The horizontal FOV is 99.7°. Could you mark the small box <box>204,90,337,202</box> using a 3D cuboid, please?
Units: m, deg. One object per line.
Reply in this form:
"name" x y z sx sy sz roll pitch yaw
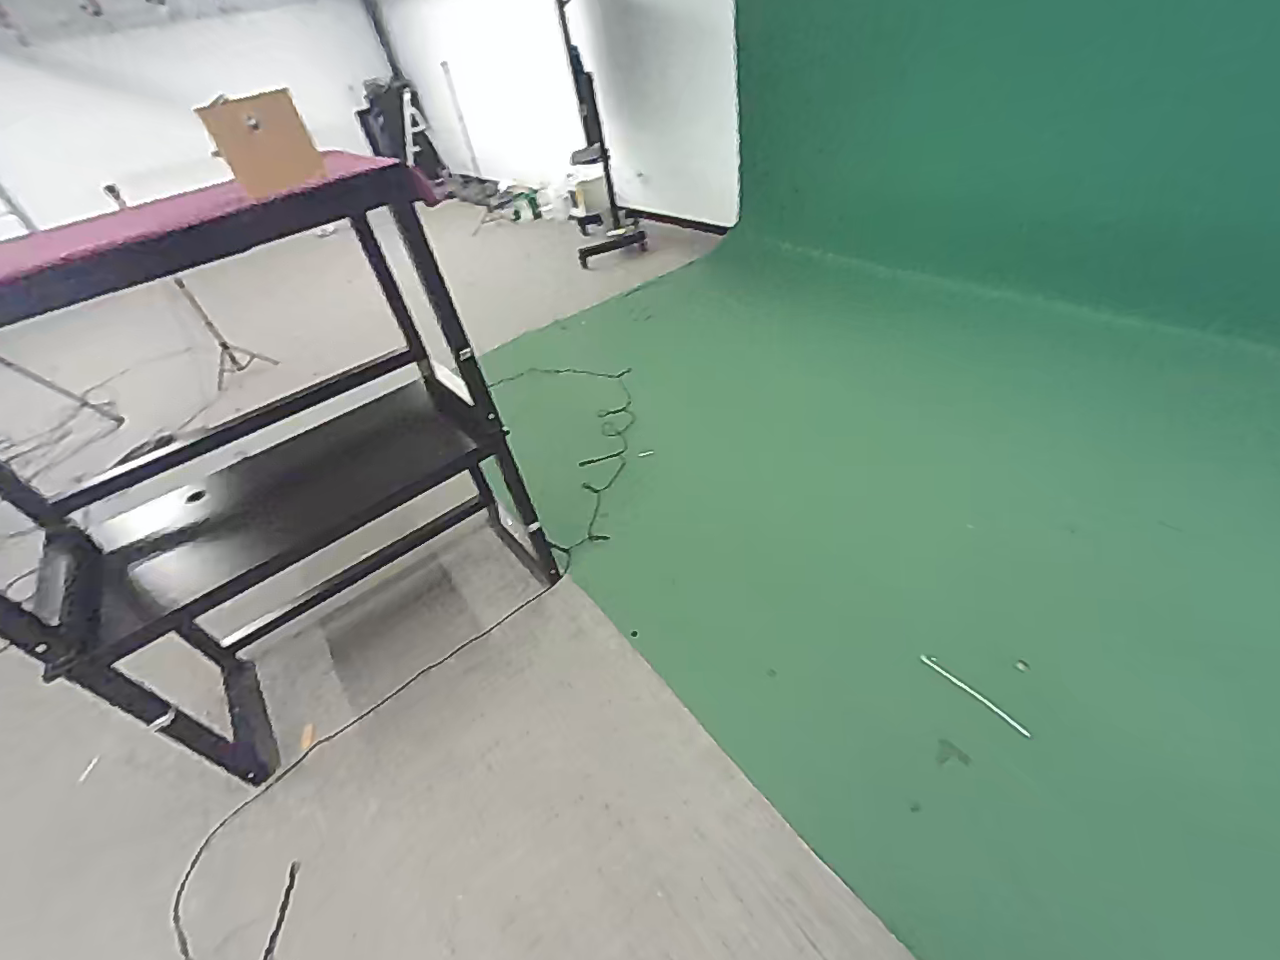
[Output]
"small box" -0.799 -0.723 1.176 0.179 0.176 0.168 -31 43 -19
